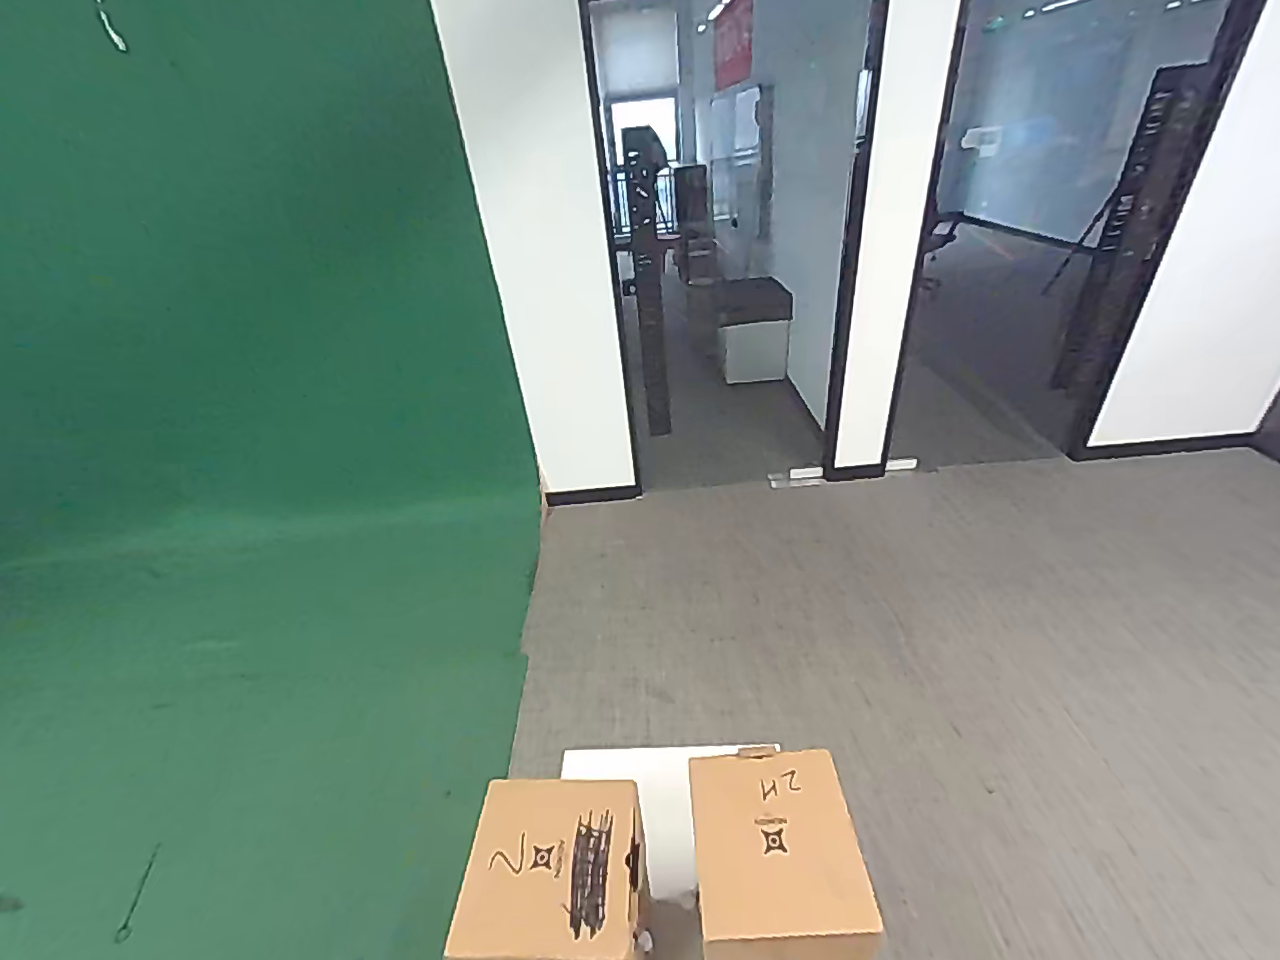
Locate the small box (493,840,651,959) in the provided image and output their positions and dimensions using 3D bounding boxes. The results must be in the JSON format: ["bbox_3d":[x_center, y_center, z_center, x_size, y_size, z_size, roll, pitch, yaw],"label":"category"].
[{"bbox_3d":[-0.078,0.599,0.702,0.179,0.176,0.168,-1,33,3],"label":"small box"}]

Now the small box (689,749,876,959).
[{"bbox_3d":[0.146,0.437,0.611,0.168,0.176,0.179,-5,33,3],"label":"small box"}]
